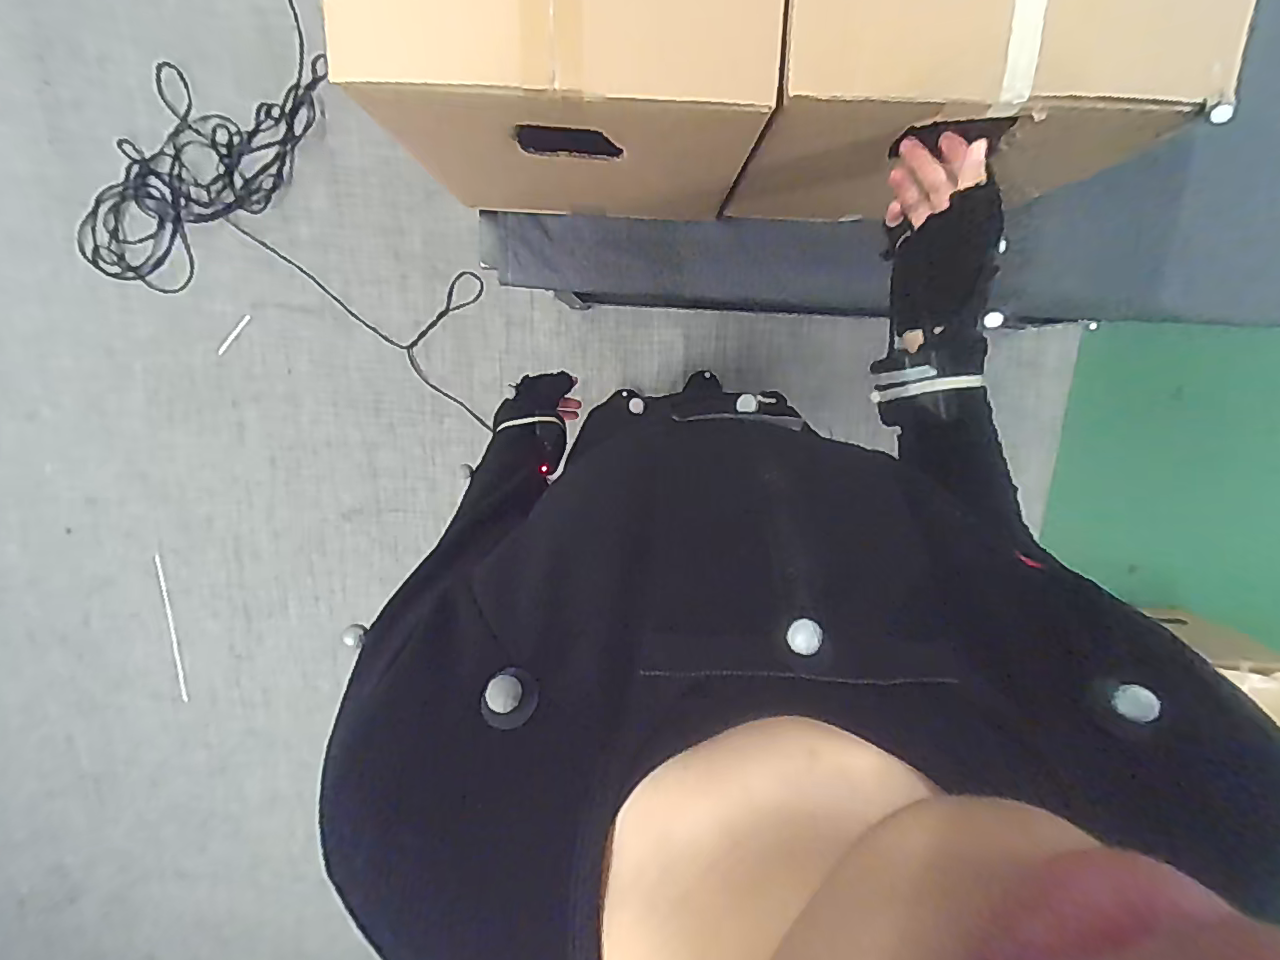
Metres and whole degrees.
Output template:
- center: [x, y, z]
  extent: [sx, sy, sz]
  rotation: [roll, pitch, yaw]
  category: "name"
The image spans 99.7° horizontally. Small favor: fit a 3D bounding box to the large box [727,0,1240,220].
- center: [0.260, -0.489, 0.486]
  extent: [0.320, 0.320, 0.408]
  rotation: [2, 103, 1]
  category: "large box"
